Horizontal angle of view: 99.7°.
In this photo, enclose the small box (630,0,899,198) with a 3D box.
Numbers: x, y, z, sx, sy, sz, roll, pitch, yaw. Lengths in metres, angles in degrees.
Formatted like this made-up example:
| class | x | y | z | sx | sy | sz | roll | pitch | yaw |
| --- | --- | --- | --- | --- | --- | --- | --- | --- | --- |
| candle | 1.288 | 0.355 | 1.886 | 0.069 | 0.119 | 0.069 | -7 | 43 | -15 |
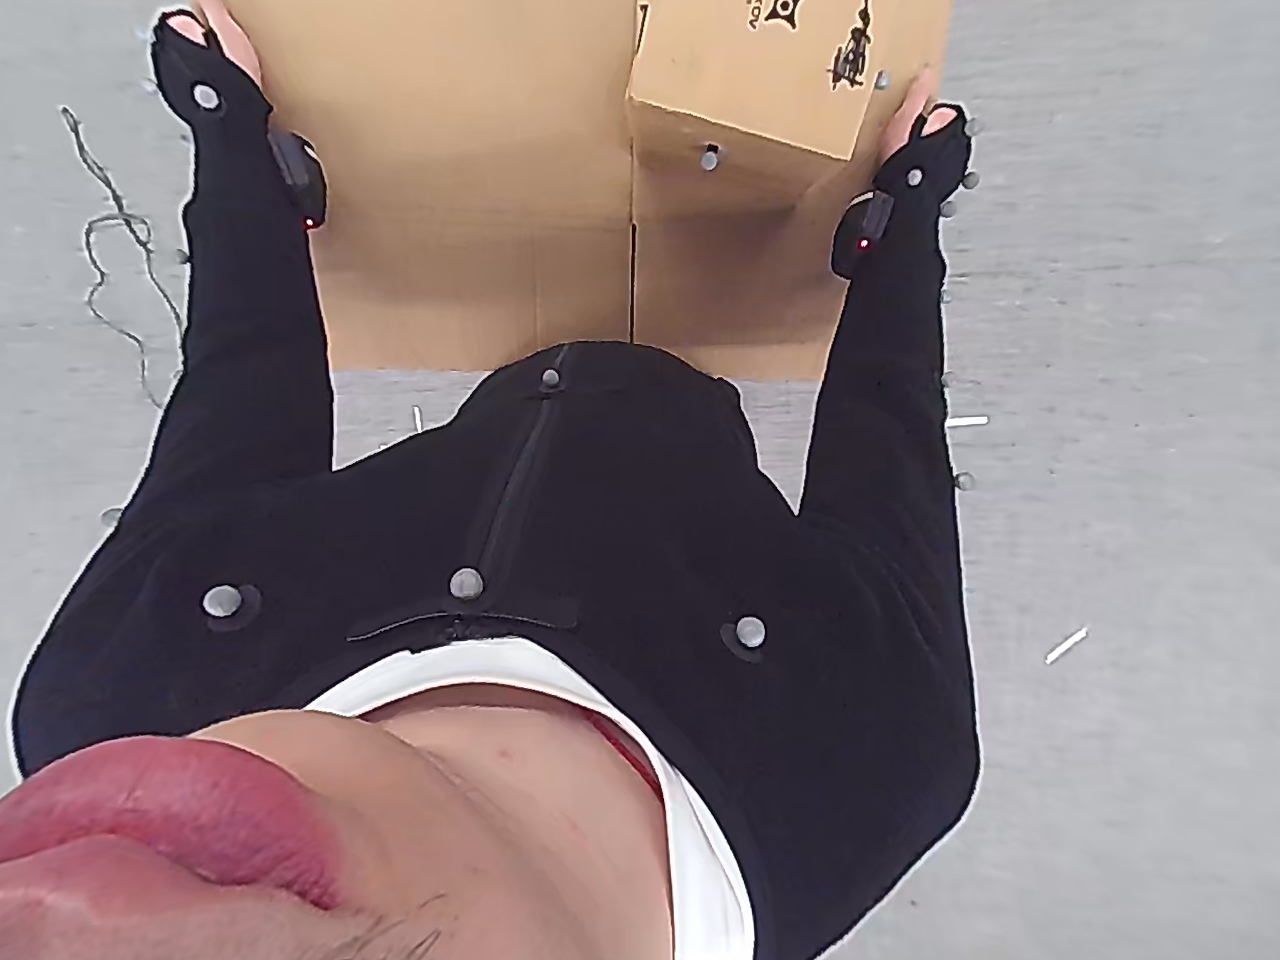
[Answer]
| class | x | y | z | sx | sy | sz | roll | pitch | yaw |
| --- | --- | --- | --- | --- | --- | --- | --- | --- | --- |
| small box | 0.101 | -0.363 | 0.466 | 0.179 | 0.176 | 0.168 | 15 | 107 | -1 |
